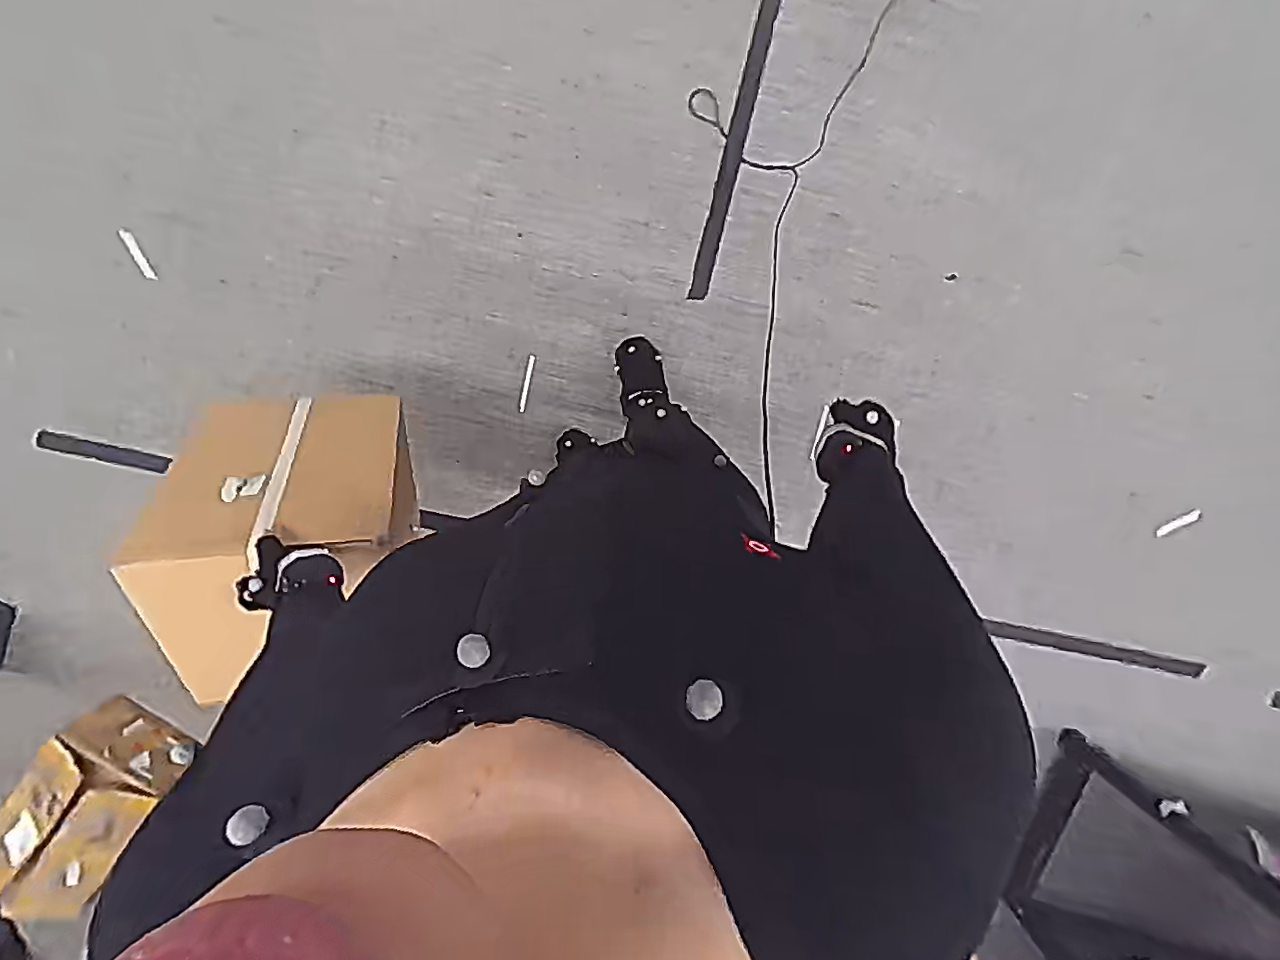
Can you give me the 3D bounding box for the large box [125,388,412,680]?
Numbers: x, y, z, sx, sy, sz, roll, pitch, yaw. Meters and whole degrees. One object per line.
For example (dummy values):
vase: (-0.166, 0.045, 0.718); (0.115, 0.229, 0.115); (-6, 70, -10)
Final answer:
large box: (-0.580, 0.074, 0.952); (0.320, 0.408, 0.320); (-3, 130, -18)
